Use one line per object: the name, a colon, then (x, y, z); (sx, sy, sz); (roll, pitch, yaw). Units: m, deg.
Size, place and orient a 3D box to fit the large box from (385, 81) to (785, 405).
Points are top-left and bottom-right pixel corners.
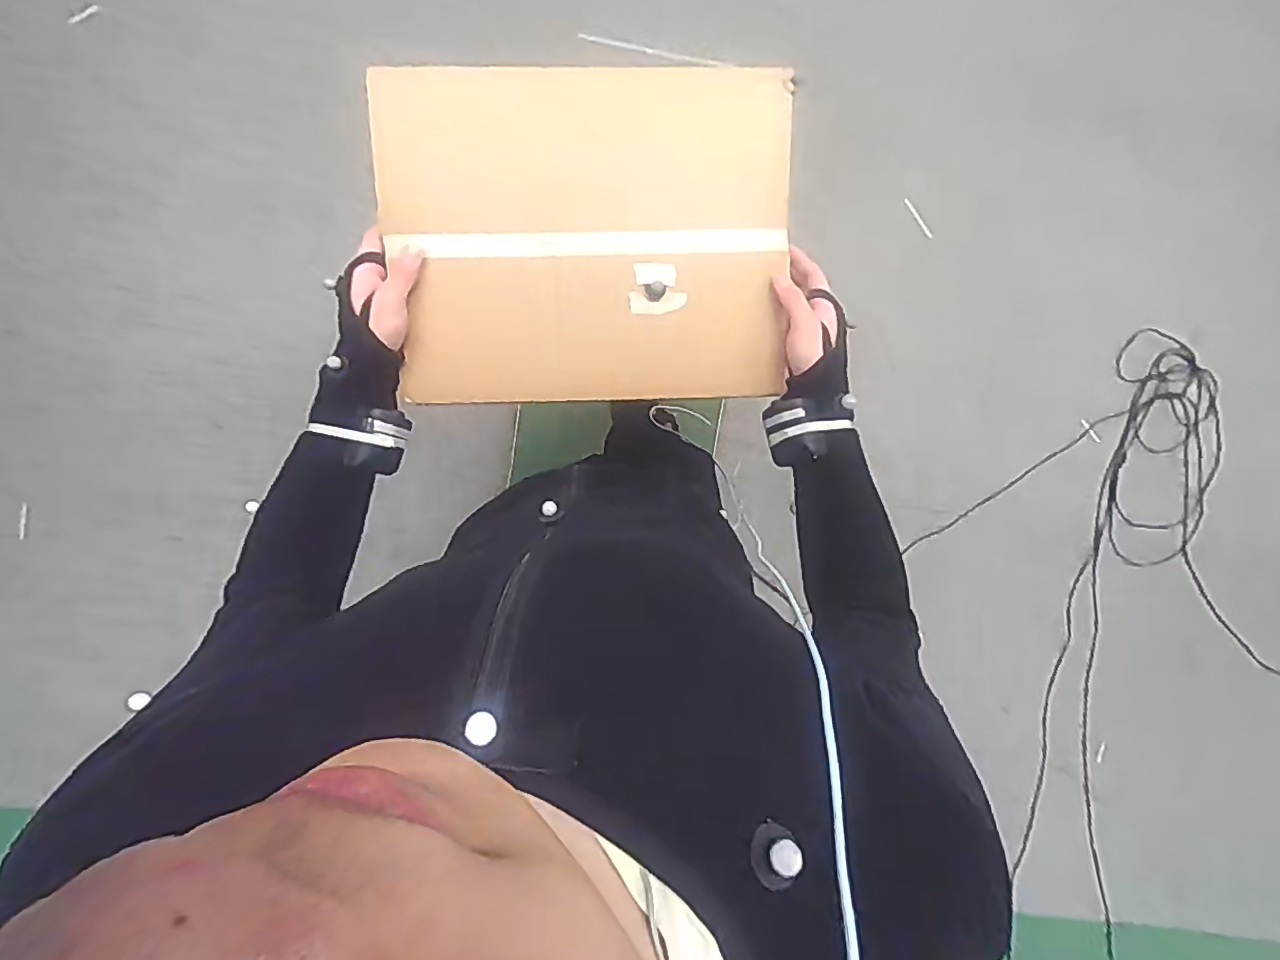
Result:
large box: (-0.056, -0.269, 0.707); (0.408, 0.320, 0.320); (-2, 102, -3)
